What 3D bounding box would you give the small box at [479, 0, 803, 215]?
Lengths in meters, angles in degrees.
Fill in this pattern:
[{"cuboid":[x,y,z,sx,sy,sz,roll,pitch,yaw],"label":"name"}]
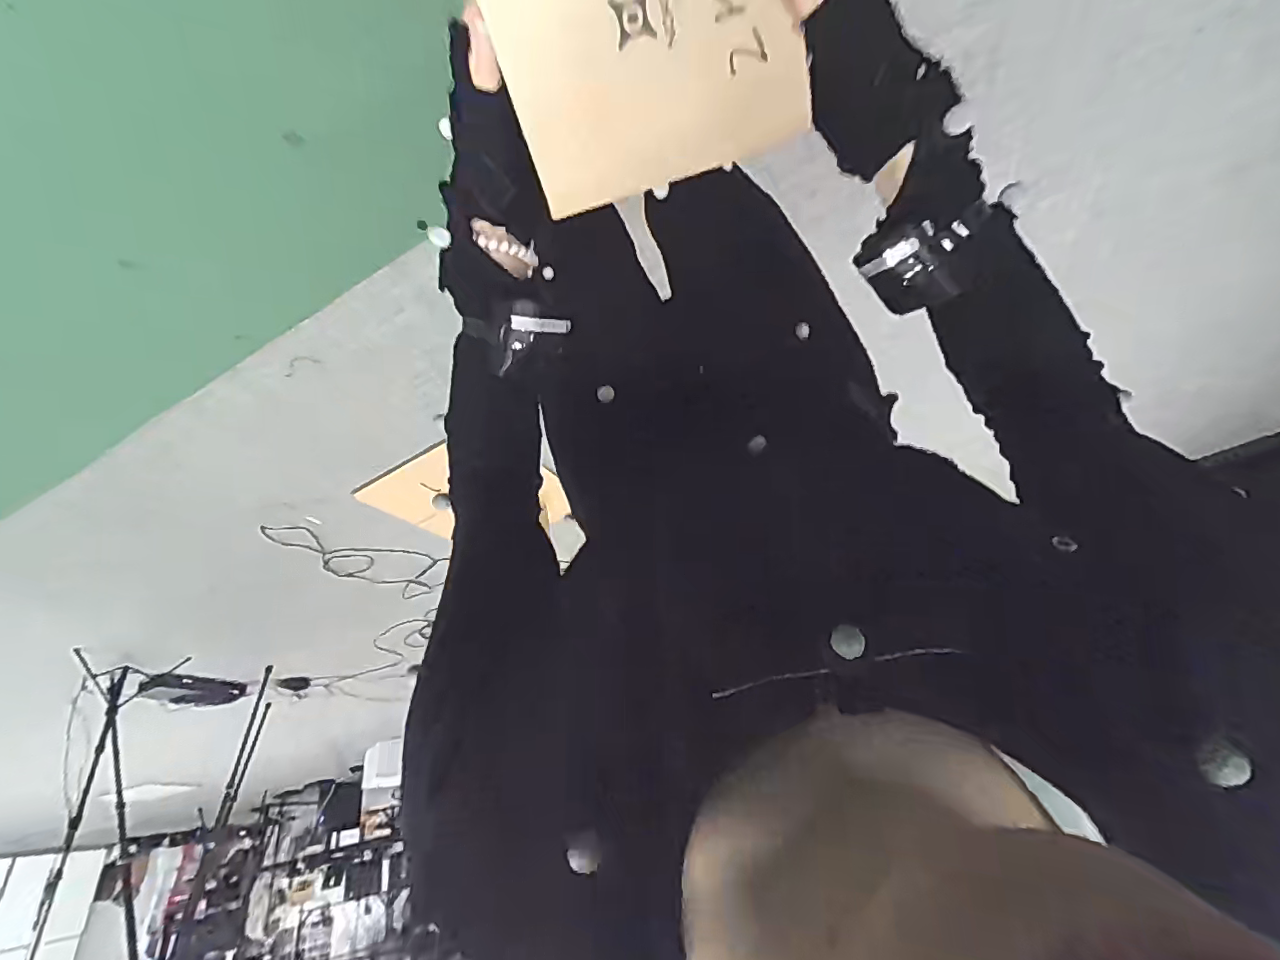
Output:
[{"cuboid":[-0.004,-0.307,0.375,0.179,0.176,0.168,-16,127,4],"label":"small box"}]
